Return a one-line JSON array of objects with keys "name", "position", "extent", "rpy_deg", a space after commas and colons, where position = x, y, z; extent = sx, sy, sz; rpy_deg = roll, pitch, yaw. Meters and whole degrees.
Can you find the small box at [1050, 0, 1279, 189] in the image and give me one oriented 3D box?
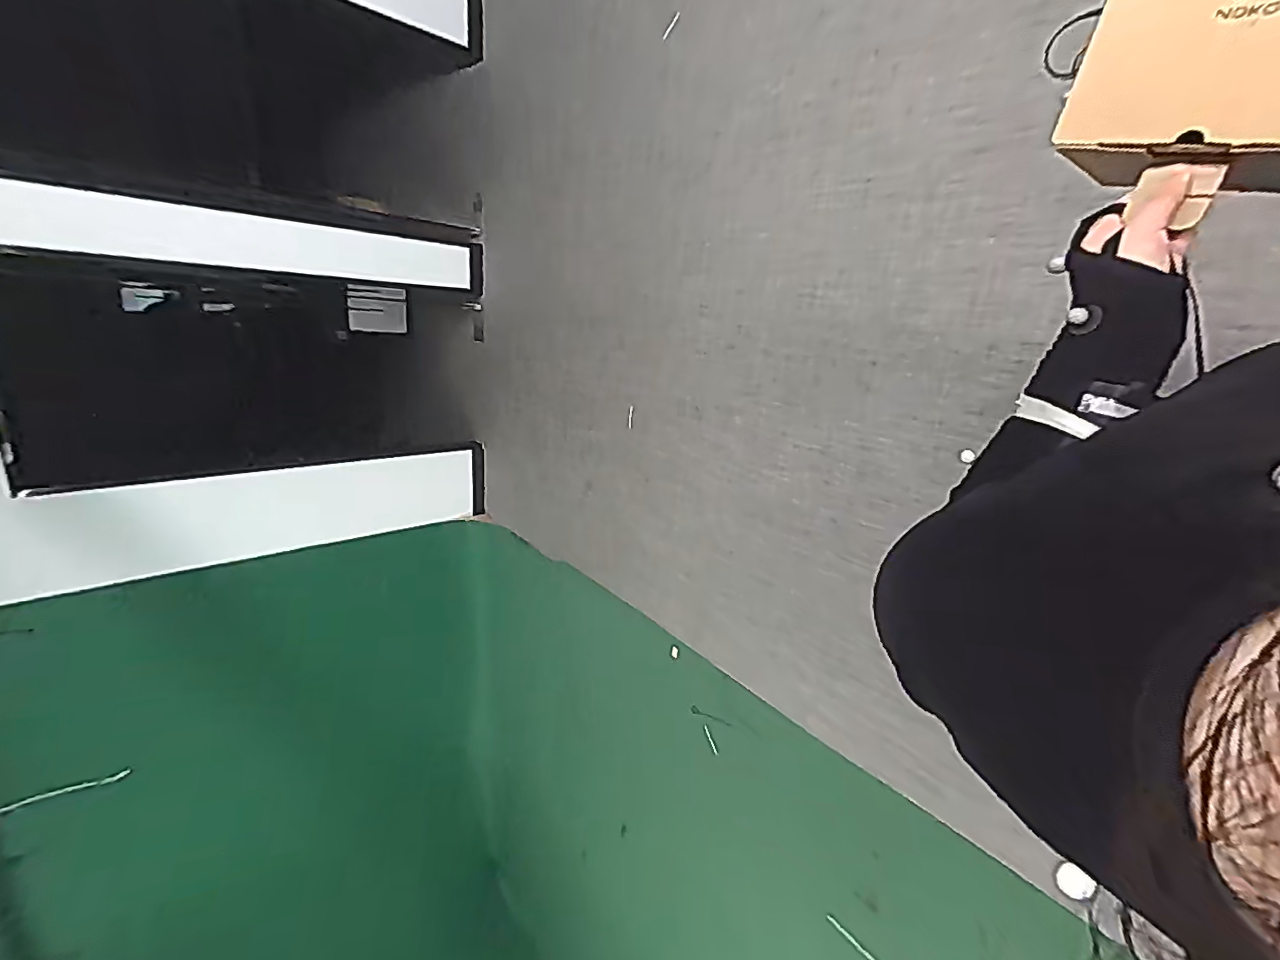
[{"name": "small box", "position": [0.444, -0.324, 0.388], "extent": [0.168, 0.176, 0.179], "rpy_deg": [33, 125, 41]}]
